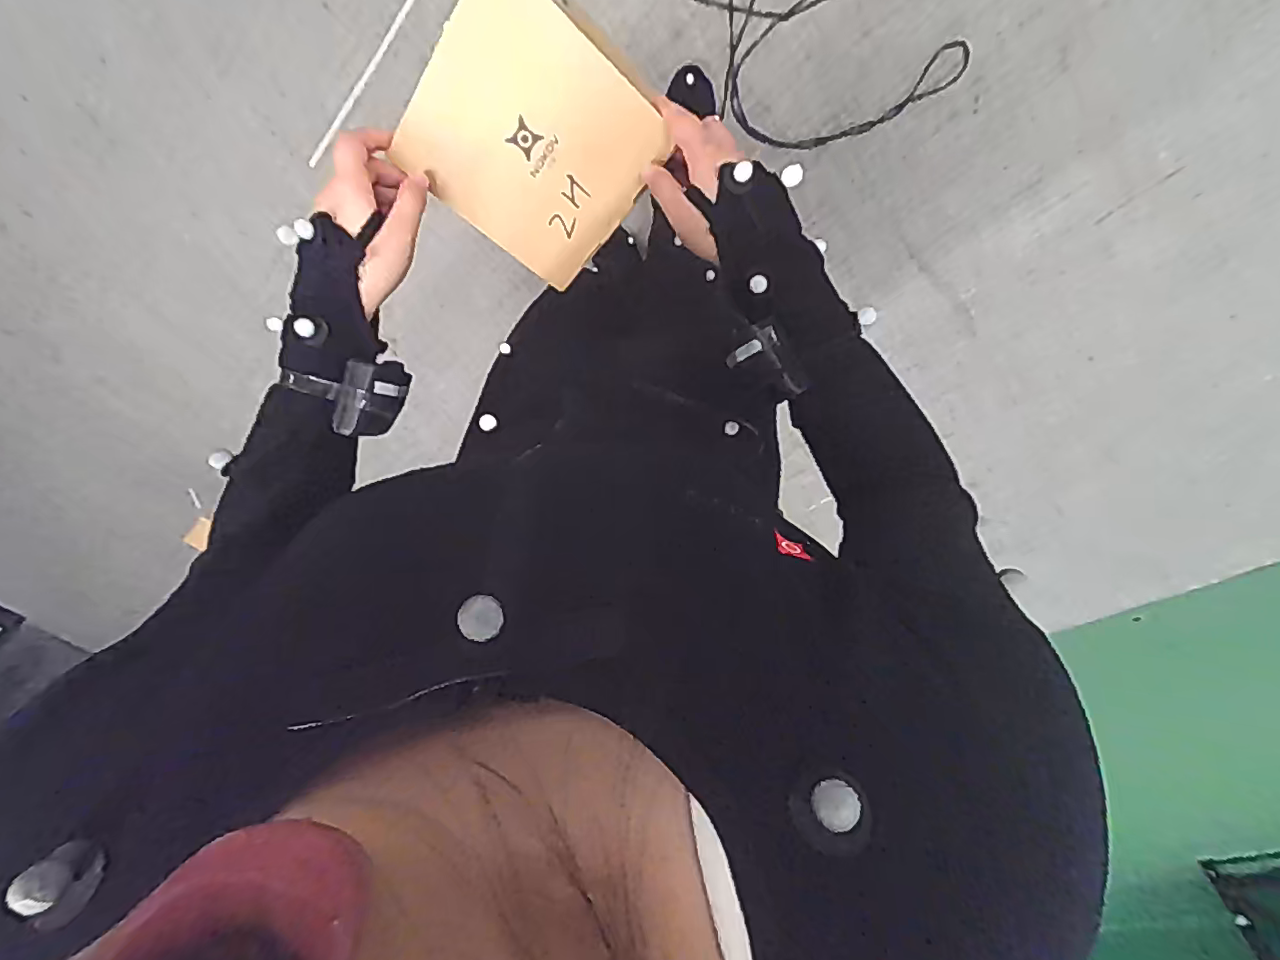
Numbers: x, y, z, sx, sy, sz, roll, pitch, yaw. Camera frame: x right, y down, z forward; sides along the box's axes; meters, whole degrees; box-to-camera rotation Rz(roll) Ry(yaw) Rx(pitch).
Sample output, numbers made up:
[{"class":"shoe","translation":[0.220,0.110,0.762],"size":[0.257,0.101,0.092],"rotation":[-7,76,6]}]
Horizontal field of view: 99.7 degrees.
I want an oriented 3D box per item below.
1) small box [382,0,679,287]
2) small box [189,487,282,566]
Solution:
[{"class":"small box","translation":[-0.087,-0.316,0.481],"size":[0.179,0.176,0.168],"rotation":[32,125,-27]},{"class":"small box","translation":[-1.381,0.159,1.859],"size":[0.179,0.176,0.168],"rotation":[-33,118,26]}]
